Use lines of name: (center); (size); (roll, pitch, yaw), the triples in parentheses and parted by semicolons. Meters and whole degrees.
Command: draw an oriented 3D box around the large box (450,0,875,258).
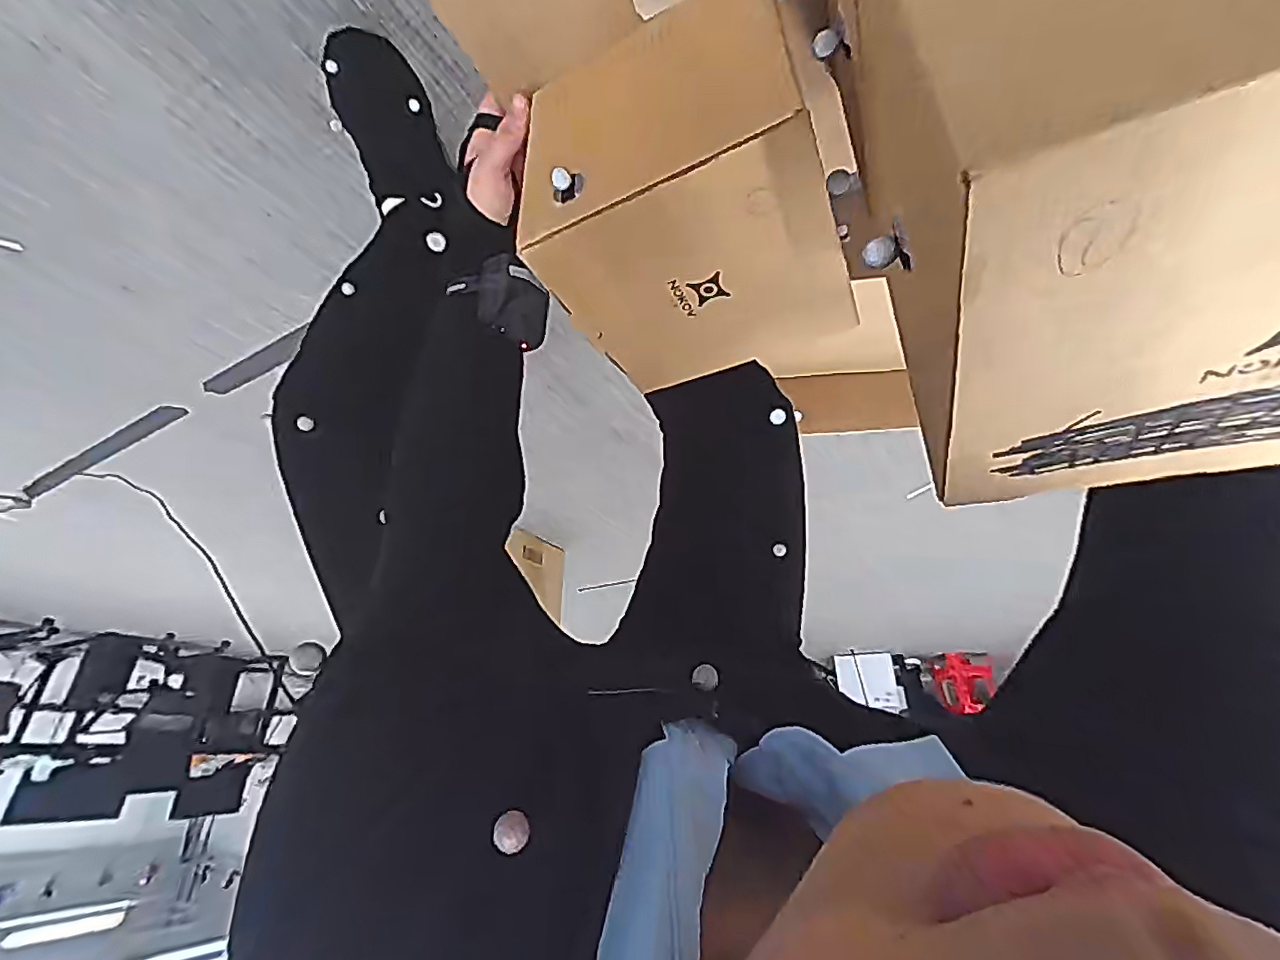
large box: (0.092, -0.456, 0.404); (0.408, 0.320, 0.320); (-13, 149, 26)

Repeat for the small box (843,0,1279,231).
small box: (0.182, -0.261, 0.242); (0.168, 0.176, 0.179); (-10, 152, 23)
